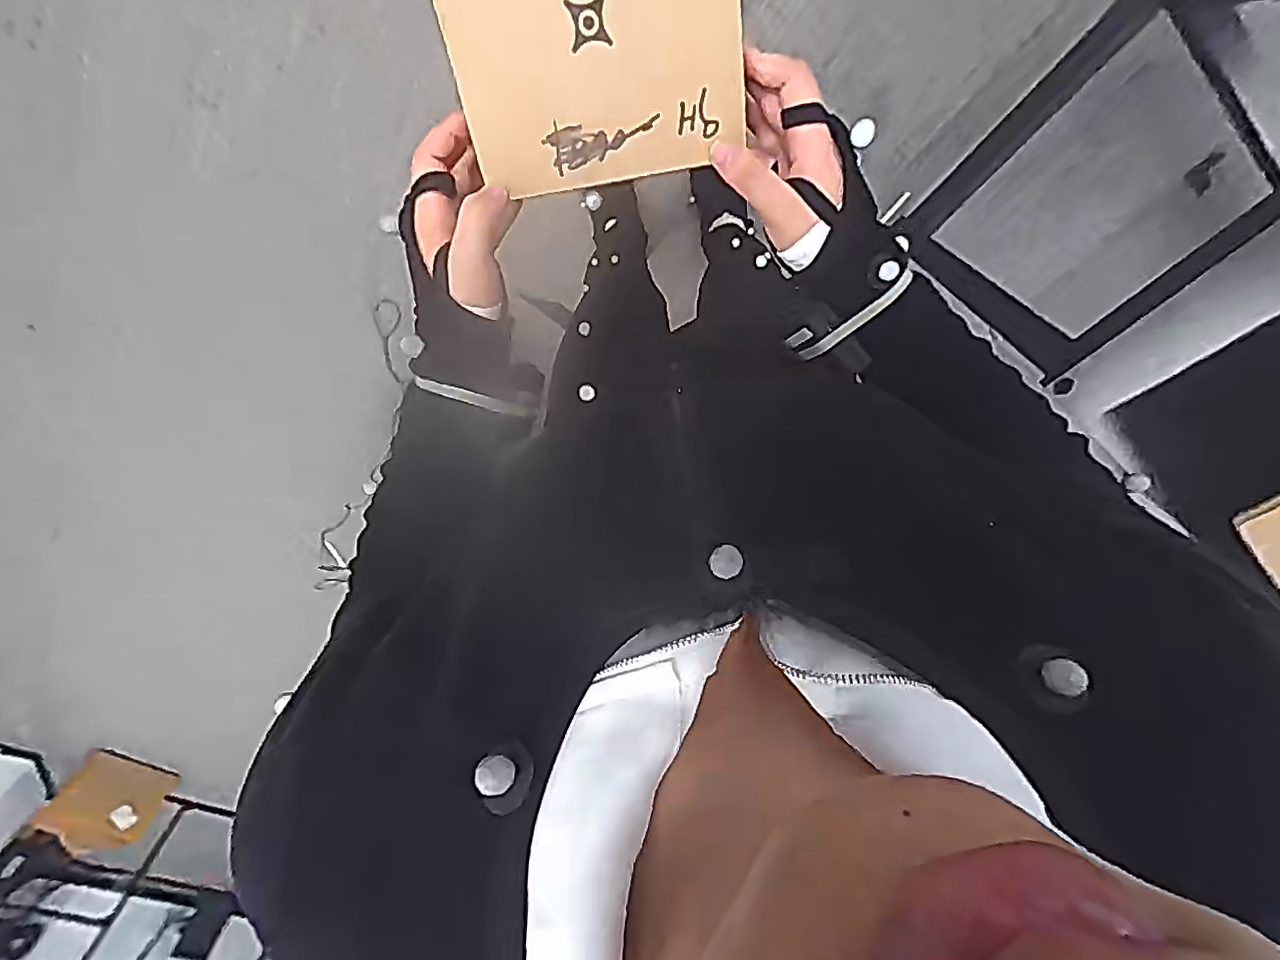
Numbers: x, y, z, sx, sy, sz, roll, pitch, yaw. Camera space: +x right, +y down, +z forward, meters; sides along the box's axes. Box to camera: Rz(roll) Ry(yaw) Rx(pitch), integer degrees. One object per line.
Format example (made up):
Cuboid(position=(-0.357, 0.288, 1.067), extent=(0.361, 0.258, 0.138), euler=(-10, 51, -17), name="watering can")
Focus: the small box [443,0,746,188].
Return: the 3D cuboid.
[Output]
Cuboid(position=(-0.027, -0.307, 0.363), extent=(0.168, 0.176, 0.179), euler=(-7, 121, 4), name="small box")
